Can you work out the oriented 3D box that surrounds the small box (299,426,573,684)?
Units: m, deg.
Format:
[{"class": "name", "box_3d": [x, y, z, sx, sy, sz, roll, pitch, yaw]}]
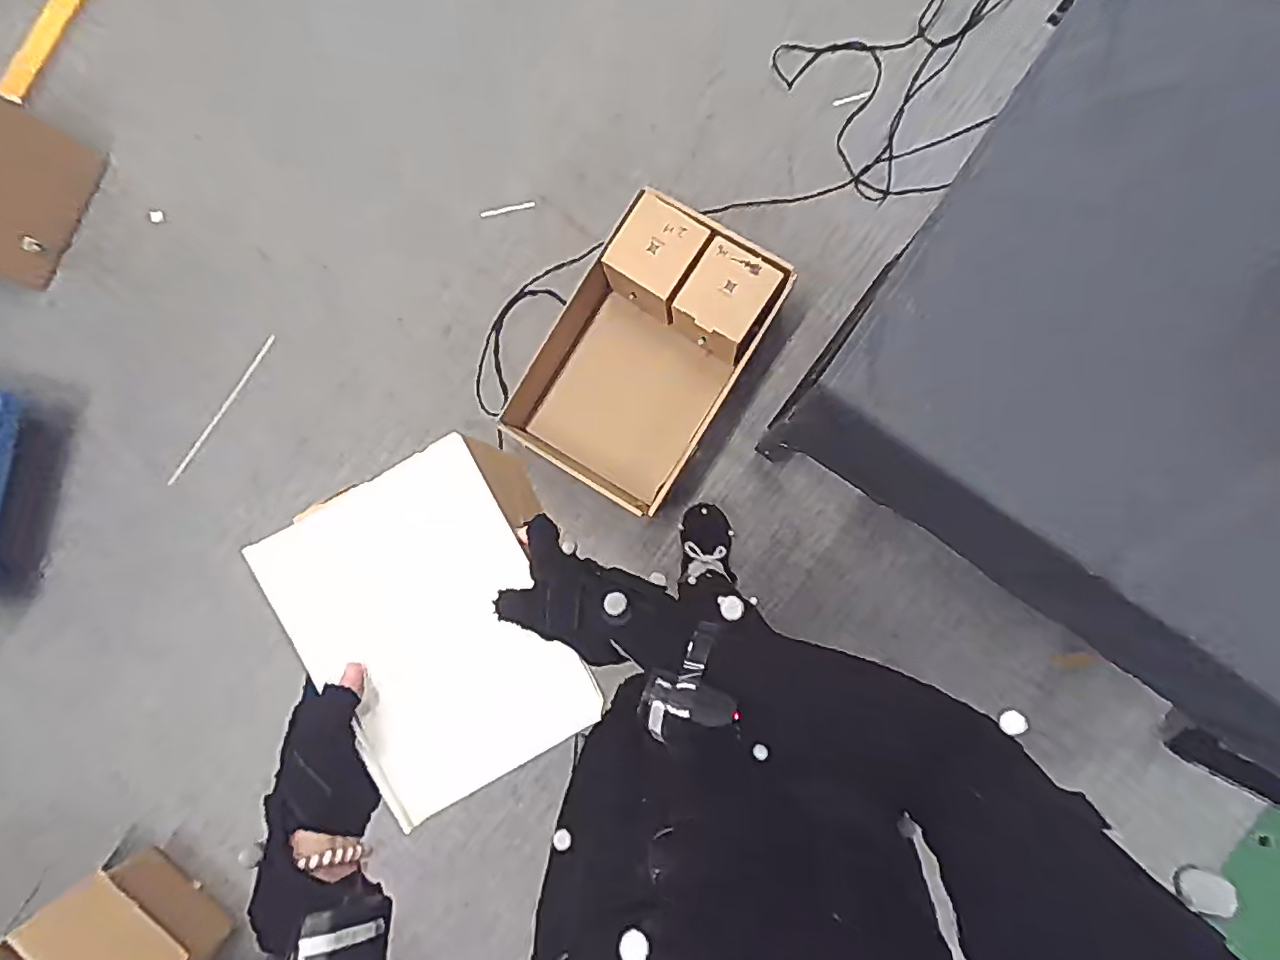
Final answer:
[{"class": "small box", "box_3d": [-0.186, 0.070, 0.544, 0.168, 0.176, 0.179, -27, 84, 2]}]
